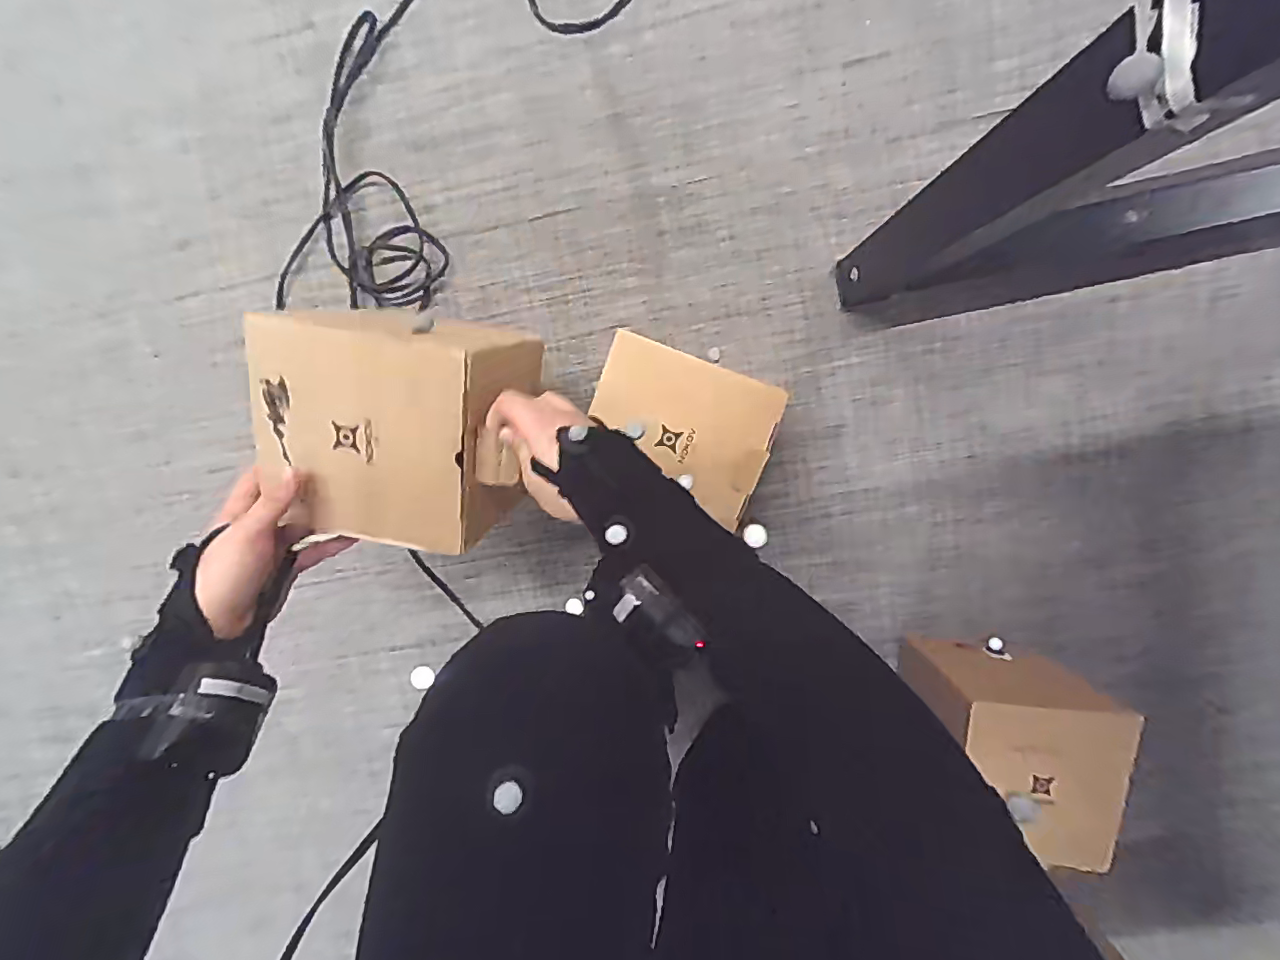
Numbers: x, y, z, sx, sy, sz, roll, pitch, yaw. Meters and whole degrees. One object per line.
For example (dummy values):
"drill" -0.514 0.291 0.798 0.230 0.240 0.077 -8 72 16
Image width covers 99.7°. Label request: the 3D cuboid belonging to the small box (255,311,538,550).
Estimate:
"small box" -0.203 -0.058 0.496 0.179 0.176 0.168 11 109 4
